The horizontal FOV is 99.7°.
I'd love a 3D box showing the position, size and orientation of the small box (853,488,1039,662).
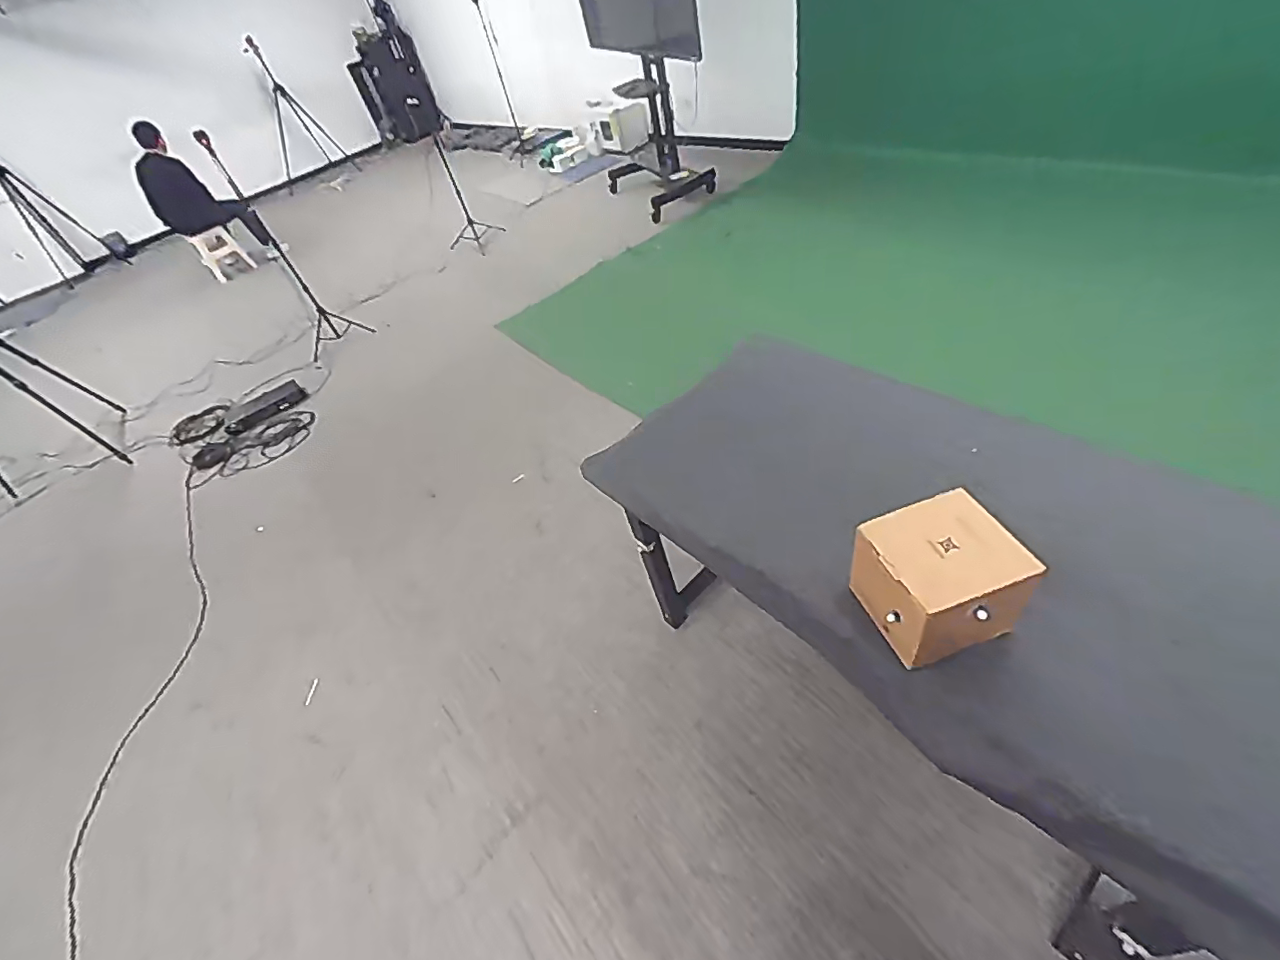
[{"bbox_3d":[0.441,0.147,0.817,0.179,0.176,0.168,-19,46,-4],"label":"small box"}]
